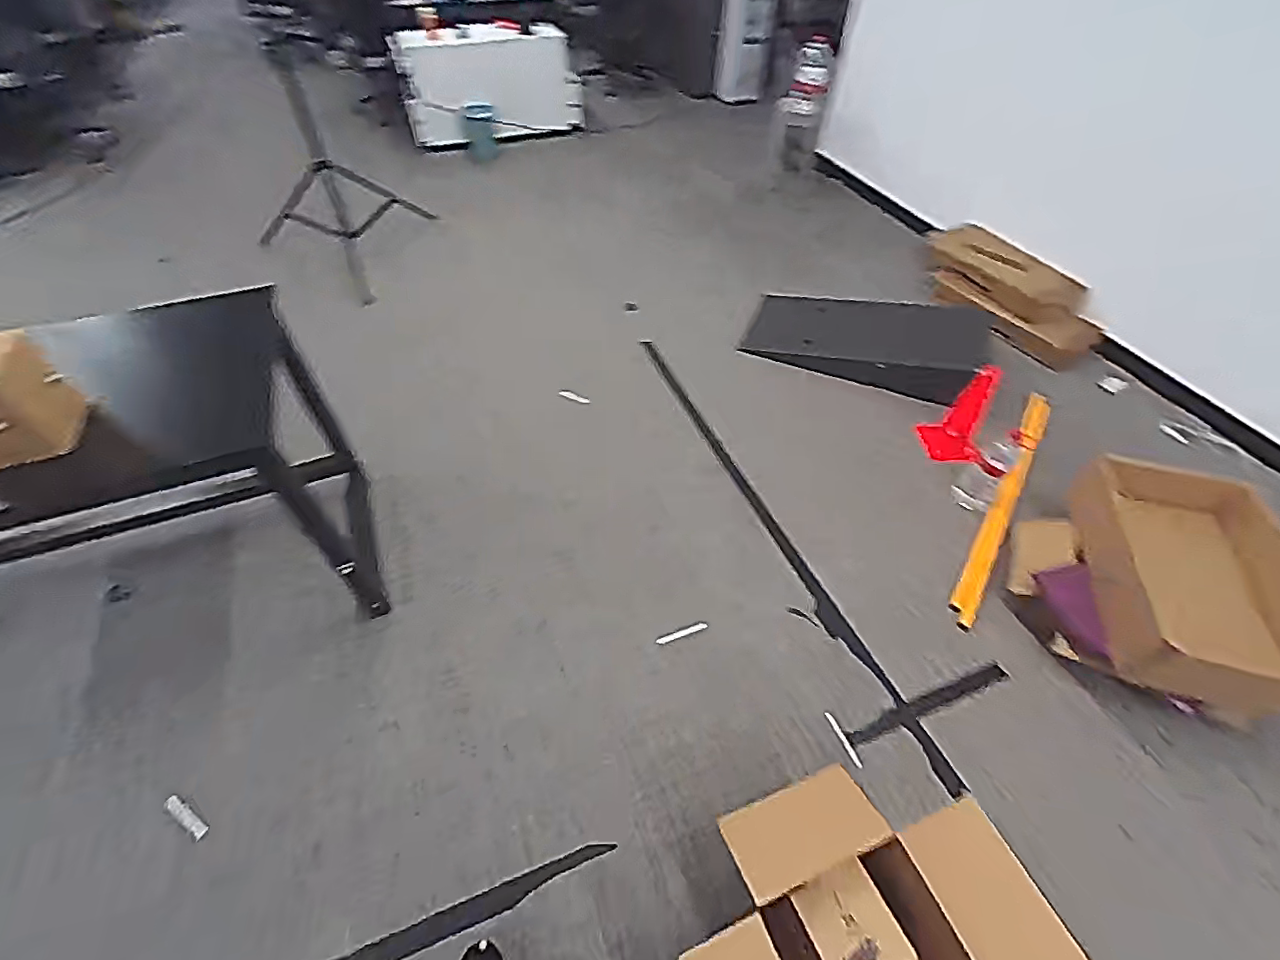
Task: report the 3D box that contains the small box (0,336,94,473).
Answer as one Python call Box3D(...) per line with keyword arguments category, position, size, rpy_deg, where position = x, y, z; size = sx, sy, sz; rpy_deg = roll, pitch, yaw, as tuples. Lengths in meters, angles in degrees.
Box3D(category="small box", position=(-1.155, -0.129, 0.973), size=(0.179, 0.176, 0.168), rpy_deg=(-17, 51, -14))
